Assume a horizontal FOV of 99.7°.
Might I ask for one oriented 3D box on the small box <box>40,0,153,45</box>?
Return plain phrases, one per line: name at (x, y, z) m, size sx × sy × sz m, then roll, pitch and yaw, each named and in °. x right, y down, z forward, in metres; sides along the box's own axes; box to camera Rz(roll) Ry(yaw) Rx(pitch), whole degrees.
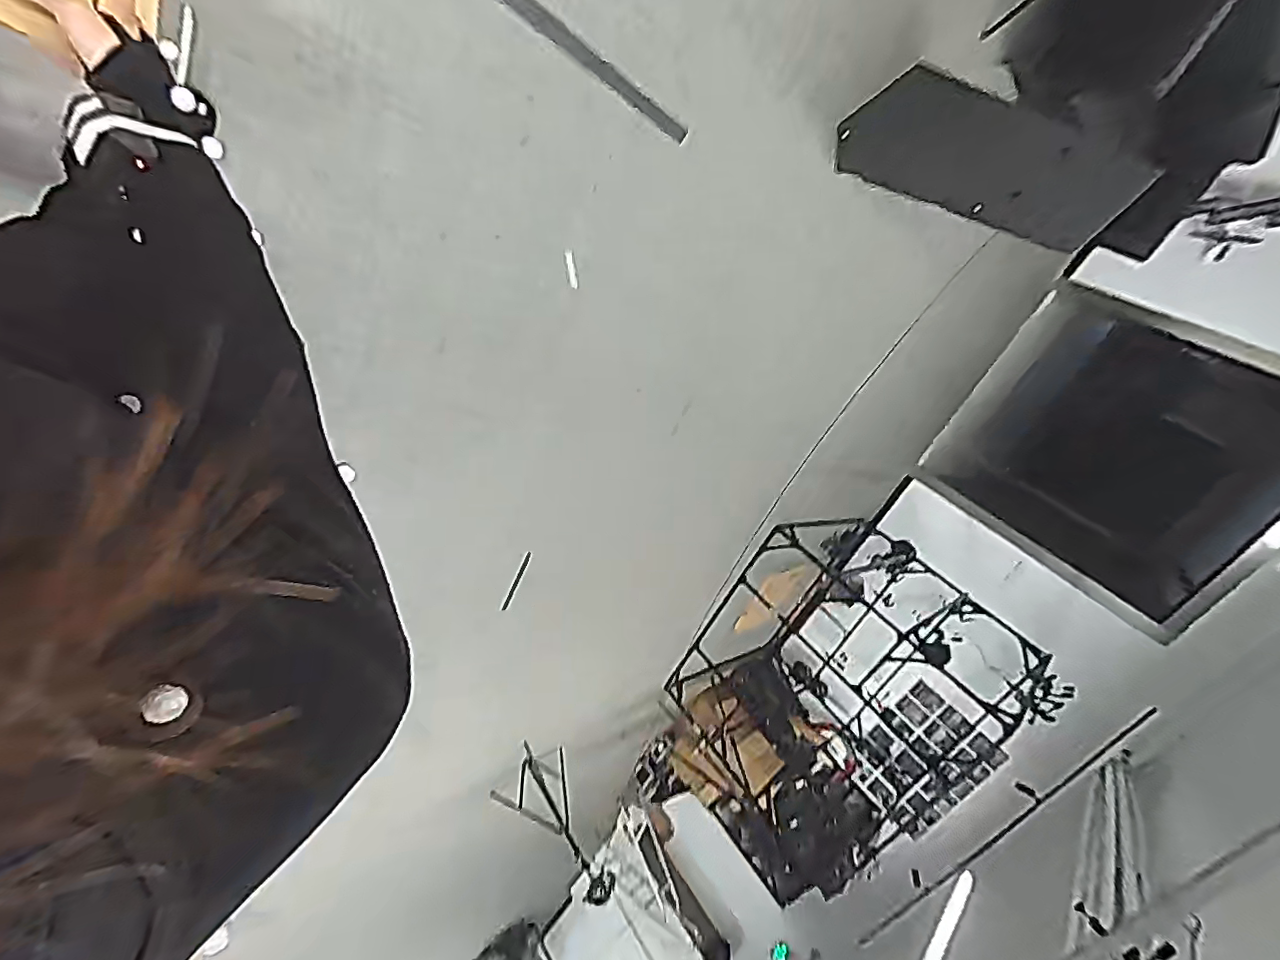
small box at (-0.866, -0.821, 0.828) m, size 0.168 × 0.176 × 0.179 m, roll -3°, pitch 128°, yaw -46°
